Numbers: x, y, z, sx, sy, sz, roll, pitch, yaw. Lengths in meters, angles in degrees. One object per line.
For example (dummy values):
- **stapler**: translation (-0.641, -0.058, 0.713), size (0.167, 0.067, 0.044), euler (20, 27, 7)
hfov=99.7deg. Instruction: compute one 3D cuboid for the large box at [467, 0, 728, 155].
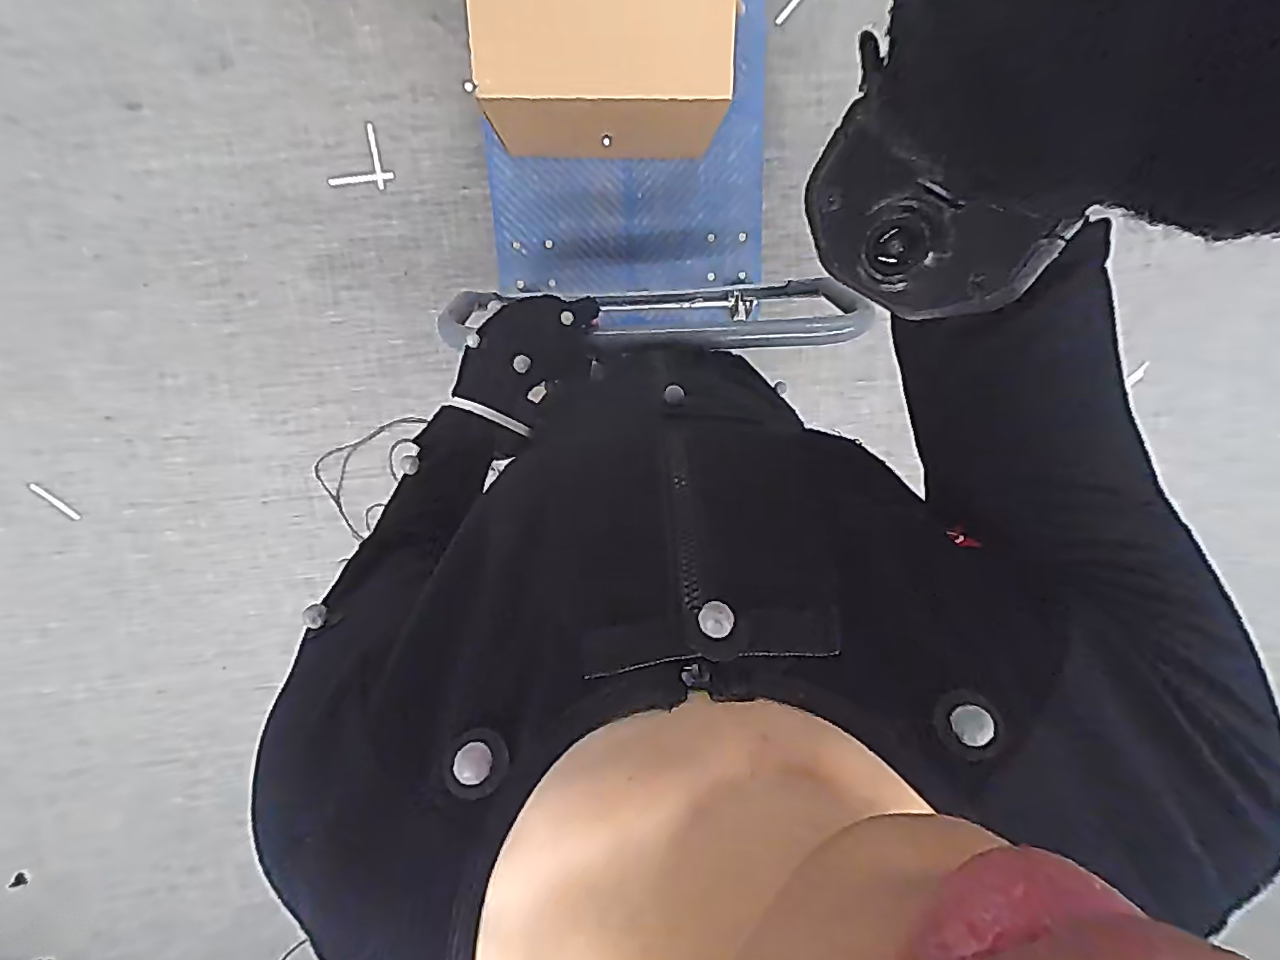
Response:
- **large box**: translation (-0.067, -0.789, 0.956), size (0.408, 0.320, 0.320), euler (-1, 106, -2)
